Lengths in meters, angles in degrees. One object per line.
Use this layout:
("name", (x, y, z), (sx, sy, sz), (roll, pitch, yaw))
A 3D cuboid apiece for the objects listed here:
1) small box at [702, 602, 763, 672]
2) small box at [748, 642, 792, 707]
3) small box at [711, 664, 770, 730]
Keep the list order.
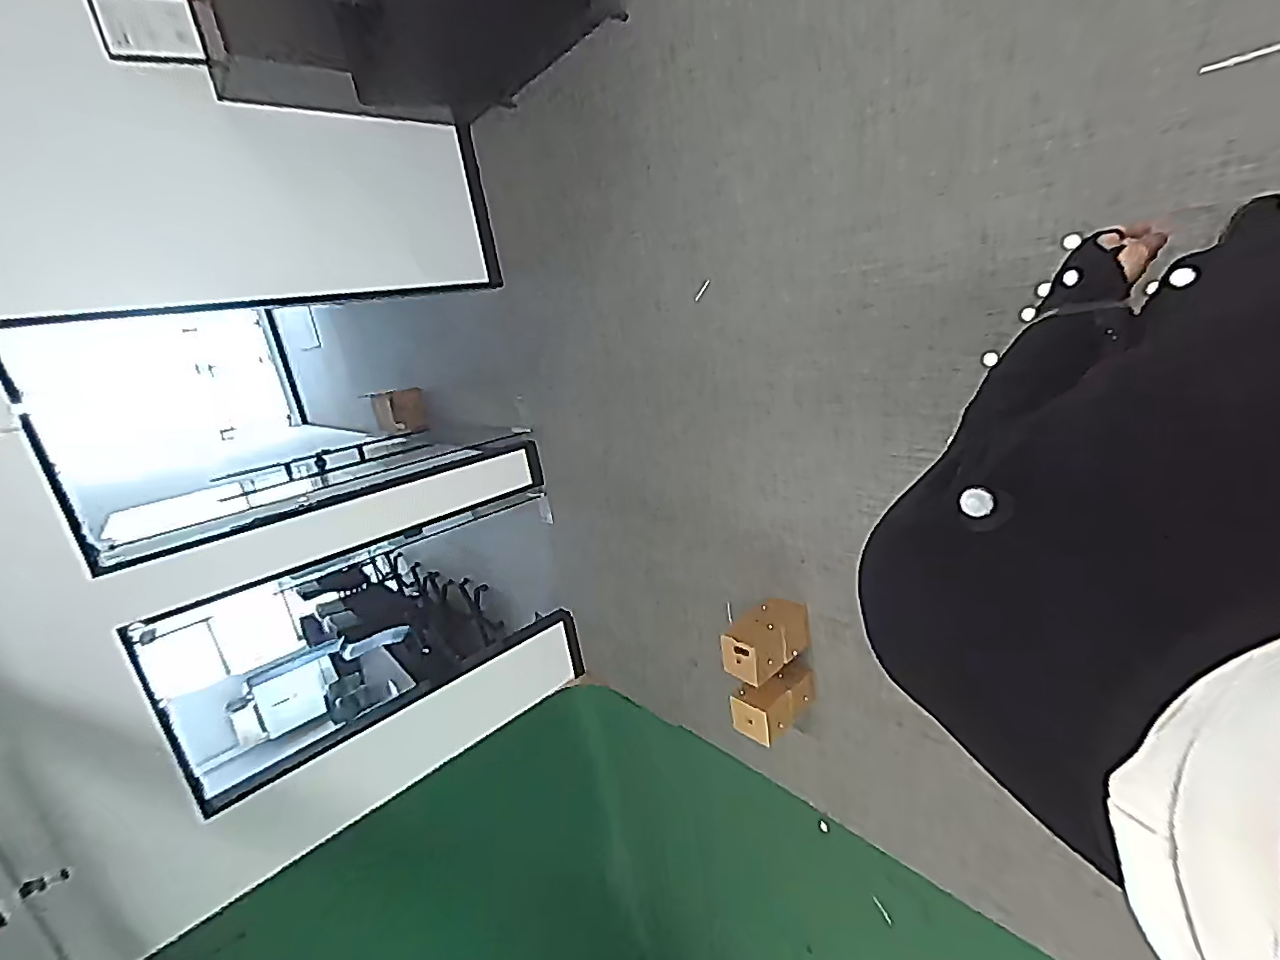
("small box", (0.363, 0.603, 2.104), (0.168, 0.176, 0.179), (15, 120, 46))
("small box", (0.528, 0.812, 2.279), (0.179, 0.176, 0.168), (14, 117, 45))
("small box", (0.411, 0.859, 2.177), (0.179, 0.176, 0.168), (11, 116, 47))
